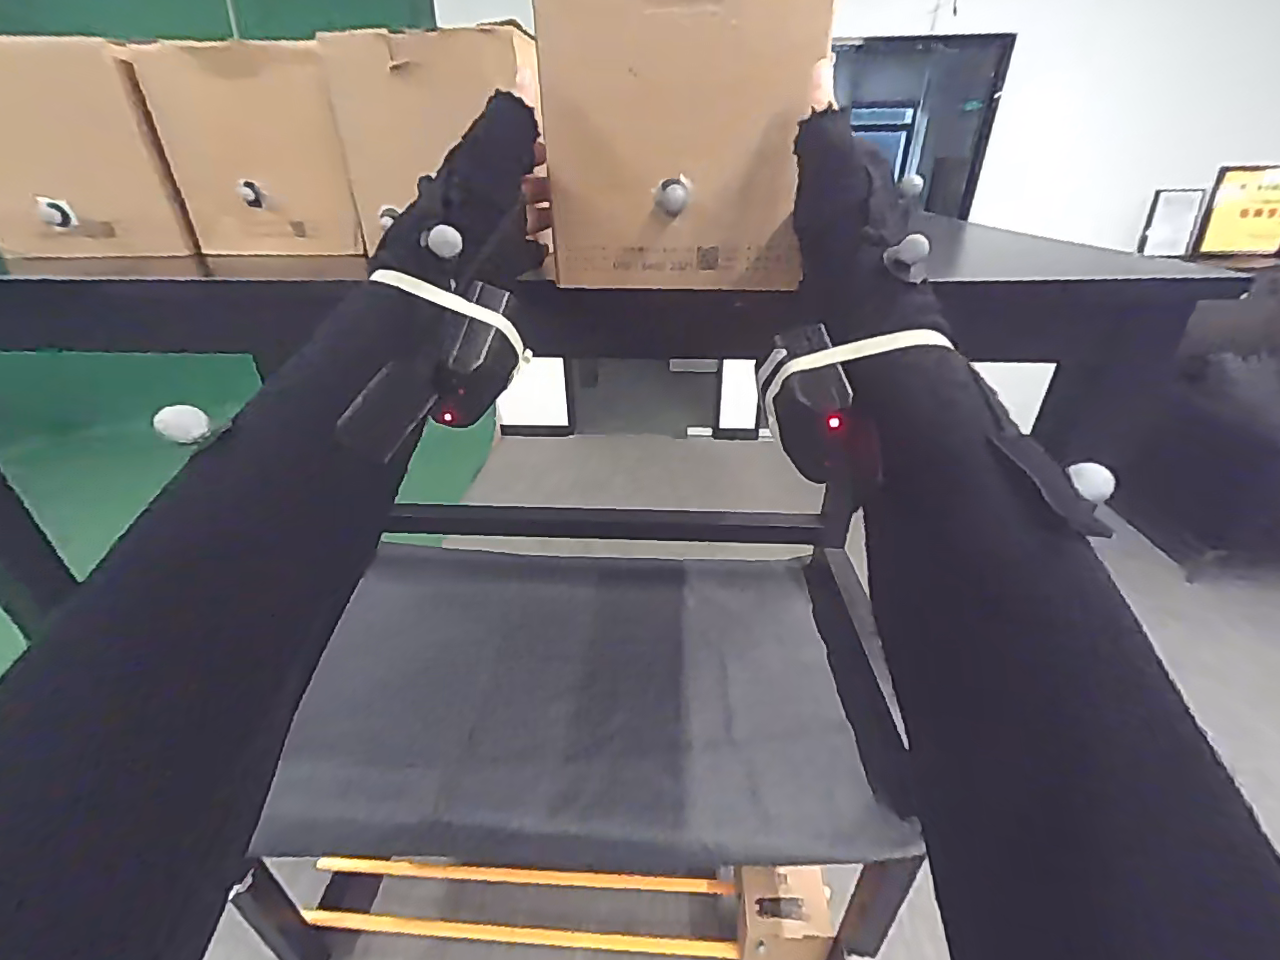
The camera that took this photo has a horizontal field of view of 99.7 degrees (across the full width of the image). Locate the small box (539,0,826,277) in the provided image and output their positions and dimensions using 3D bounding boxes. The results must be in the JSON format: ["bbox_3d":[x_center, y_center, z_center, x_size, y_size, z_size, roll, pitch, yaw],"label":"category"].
[{"bbox_3d":[0.031,-0.254,0.402,0.168,0.176,0.179,2,30,7],"label":"small box"}]
